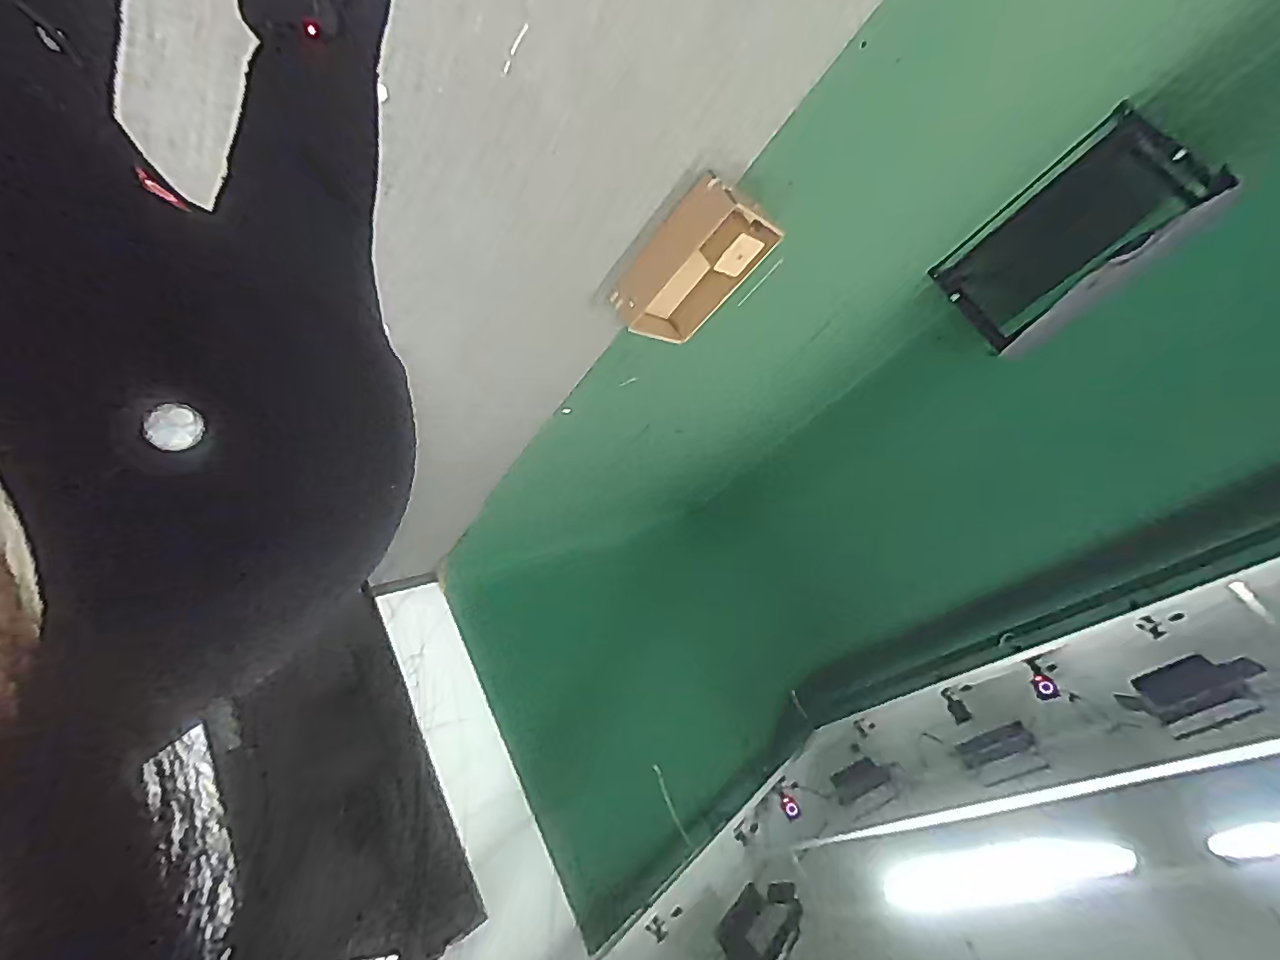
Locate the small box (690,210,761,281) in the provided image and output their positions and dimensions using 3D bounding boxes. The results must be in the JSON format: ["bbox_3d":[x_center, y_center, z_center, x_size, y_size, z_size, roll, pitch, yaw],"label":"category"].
[{"bbox_3d":[0.326,-0.899,2.074,0.179,0.176,0.168,-6,151,-48],"label":"small box"}]
